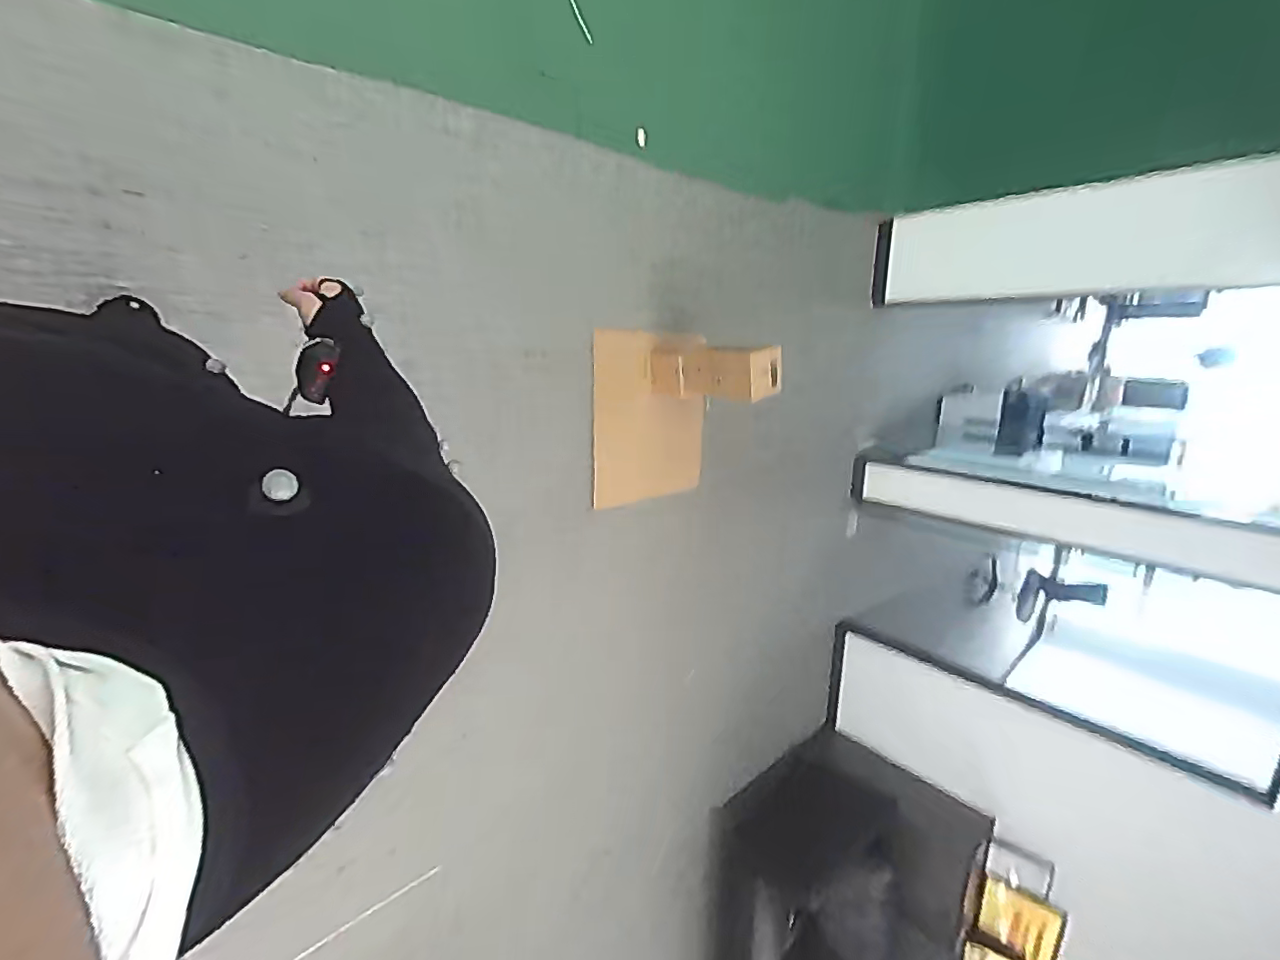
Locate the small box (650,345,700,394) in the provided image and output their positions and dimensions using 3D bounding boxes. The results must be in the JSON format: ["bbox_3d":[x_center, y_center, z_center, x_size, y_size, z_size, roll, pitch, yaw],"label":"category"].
[{"bbox_3d":[0.162,-0.445,2.158,0.179,0.176,0.168,-21,115,-38],"label":"small box"}]

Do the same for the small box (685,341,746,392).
[{"bbox_3d":[0.283,-0.433,2.043,0.179,0.176,0.168,-20,116,-38],"label":"small box"}]
